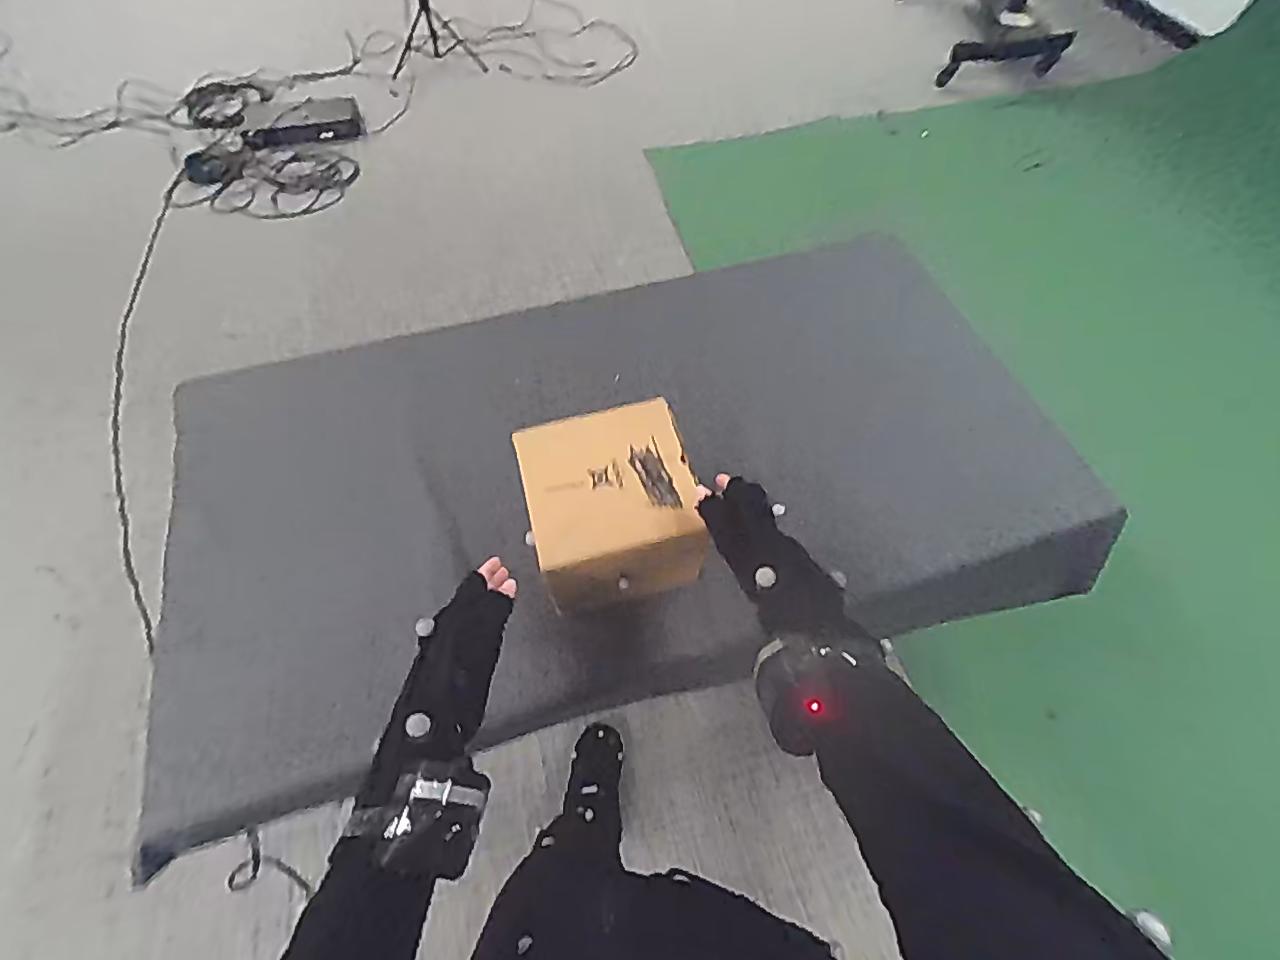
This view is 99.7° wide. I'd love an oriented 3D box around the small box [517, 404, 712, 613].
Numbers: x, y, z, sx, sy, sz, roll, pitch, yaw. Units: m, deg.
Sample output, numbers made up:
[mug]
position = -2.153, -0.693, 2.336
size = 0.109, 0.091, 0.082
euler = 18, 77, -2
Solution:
[small box]
position = -0.033, 0.039, 0.634
size = 0.179, 0.176, 0.168
euler = -14, 62, -8
